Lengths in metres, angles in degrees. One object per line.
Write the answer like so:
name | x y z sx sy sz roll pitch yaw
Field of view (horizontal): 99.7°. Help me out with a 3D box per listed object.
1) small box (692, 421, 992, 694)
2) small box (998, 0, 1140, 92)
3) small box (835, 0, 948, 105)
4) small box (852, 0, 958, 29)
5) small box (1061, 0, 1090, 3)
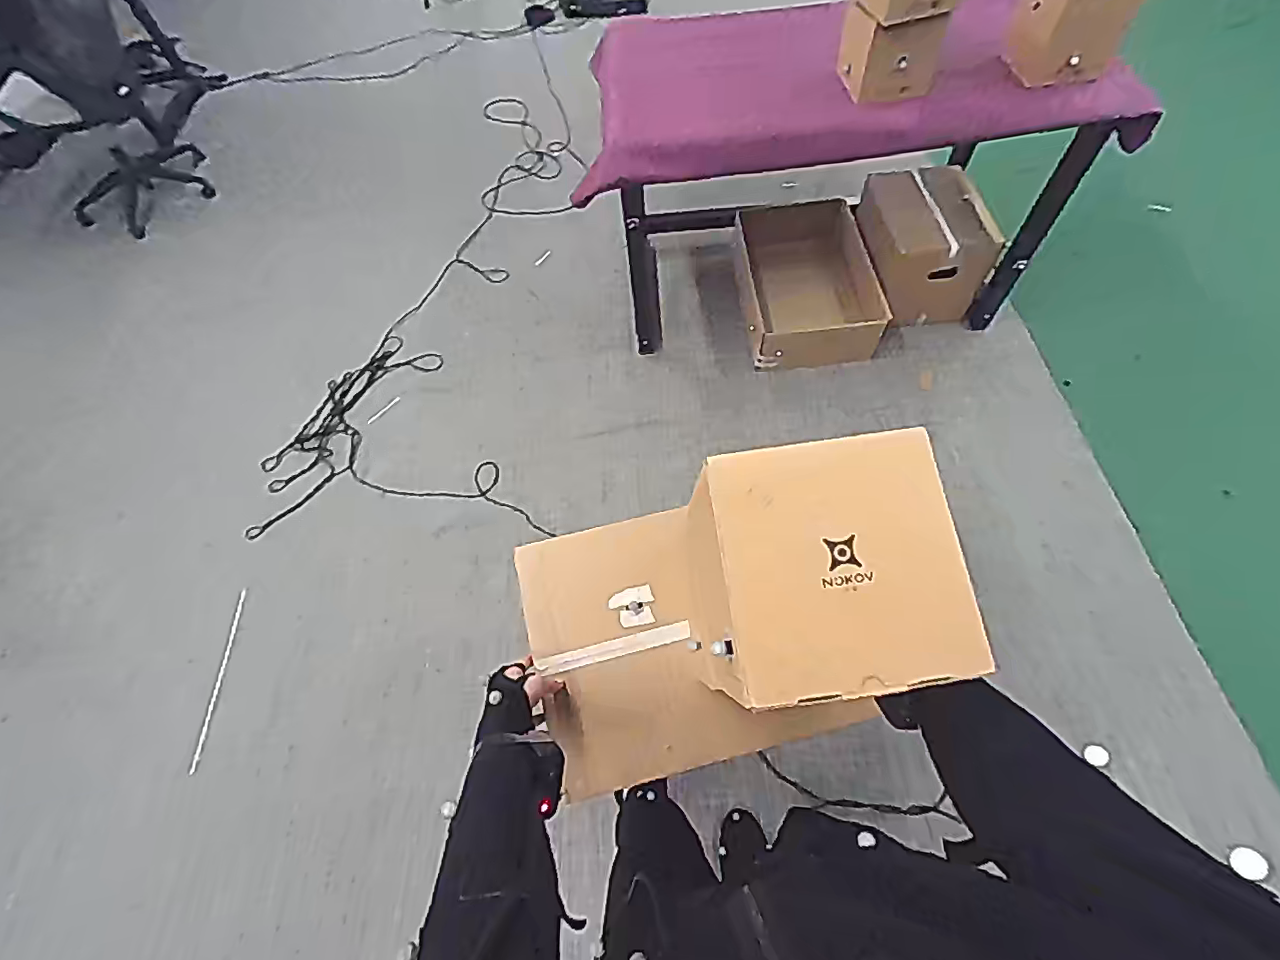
small box | 0.141 0.068 0.451 0.168 0.176 0.179 -7 76 -2
small box | 0.949 -1.012 1.216 0.168 0.176 0.179 -5 60 4
small box | 0.569 -0.996 1.247 0.168 0.176 0.179 -8 60 1
small box | 0.548 -1.056 1.093 0.168 0.176 0.179 -14 60 -1
small box | 0.928 -1.094 1.077 0.168 0.176 0.179 -7 59 3
